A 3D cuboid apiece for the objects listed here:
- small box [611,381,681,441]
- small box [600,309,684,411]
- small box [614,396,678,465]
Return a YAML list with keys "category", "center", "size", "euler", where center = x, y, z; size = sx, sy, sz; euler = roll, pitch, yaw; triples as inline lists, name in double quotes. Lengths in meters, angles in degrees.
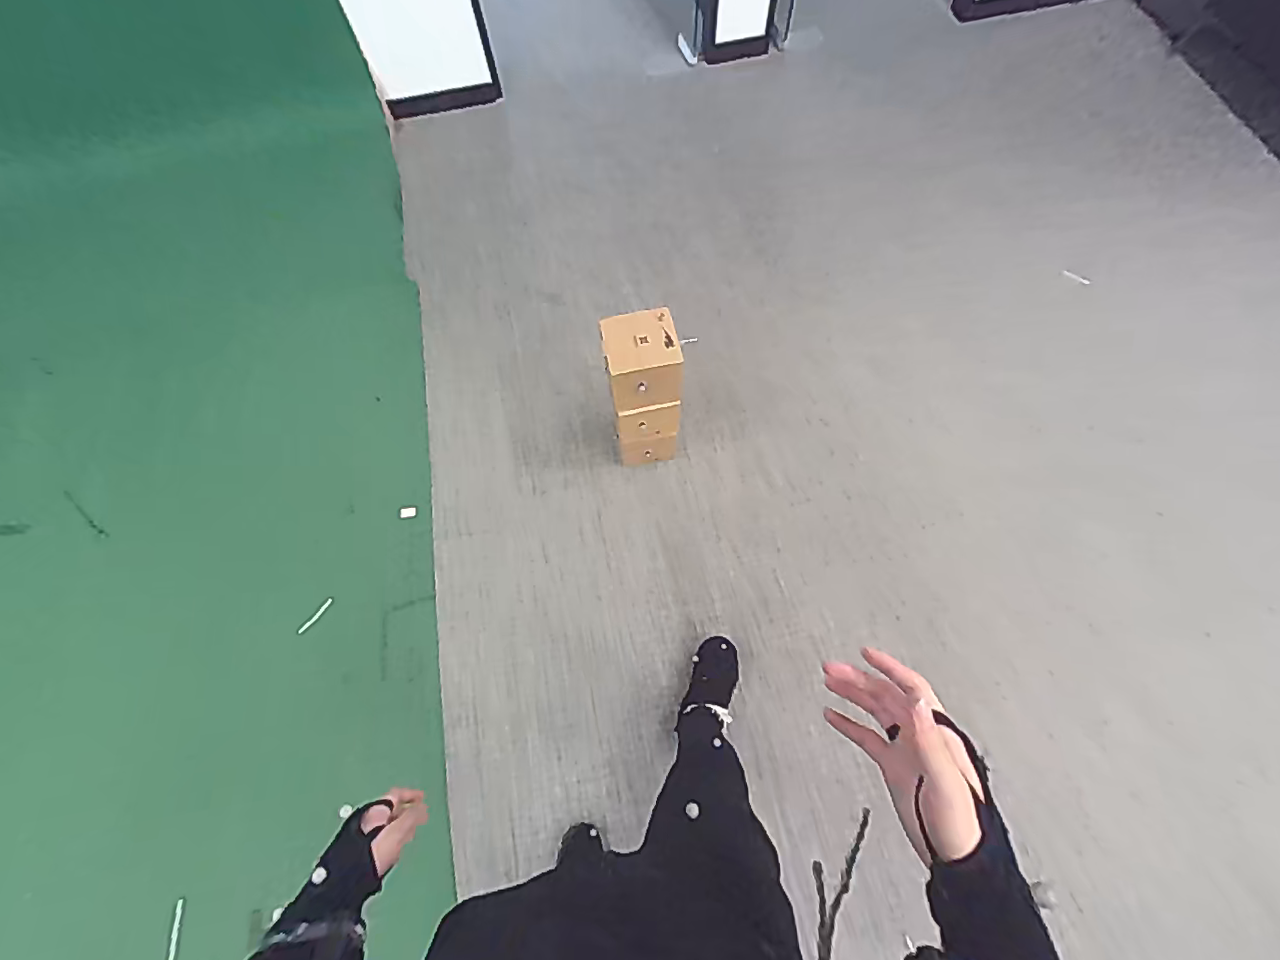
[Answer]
- category: "small box"
  center: [0.017, -0.222, 1.490]
  size: [0.168, 0.176, 0.179]
  euler: [-13, 67, -2]
- category: "small box"
  center: [0.009, -0.291, 1.341]
  size: [0.179, 0.176, 0.168]
  euler: [-12, 67, -1]
- category: "small box"
  center: [0.021, -0.158, 1.639]
  size: [0.168, 0.176, 0.179]
  euler: [-10, 67, -2]
